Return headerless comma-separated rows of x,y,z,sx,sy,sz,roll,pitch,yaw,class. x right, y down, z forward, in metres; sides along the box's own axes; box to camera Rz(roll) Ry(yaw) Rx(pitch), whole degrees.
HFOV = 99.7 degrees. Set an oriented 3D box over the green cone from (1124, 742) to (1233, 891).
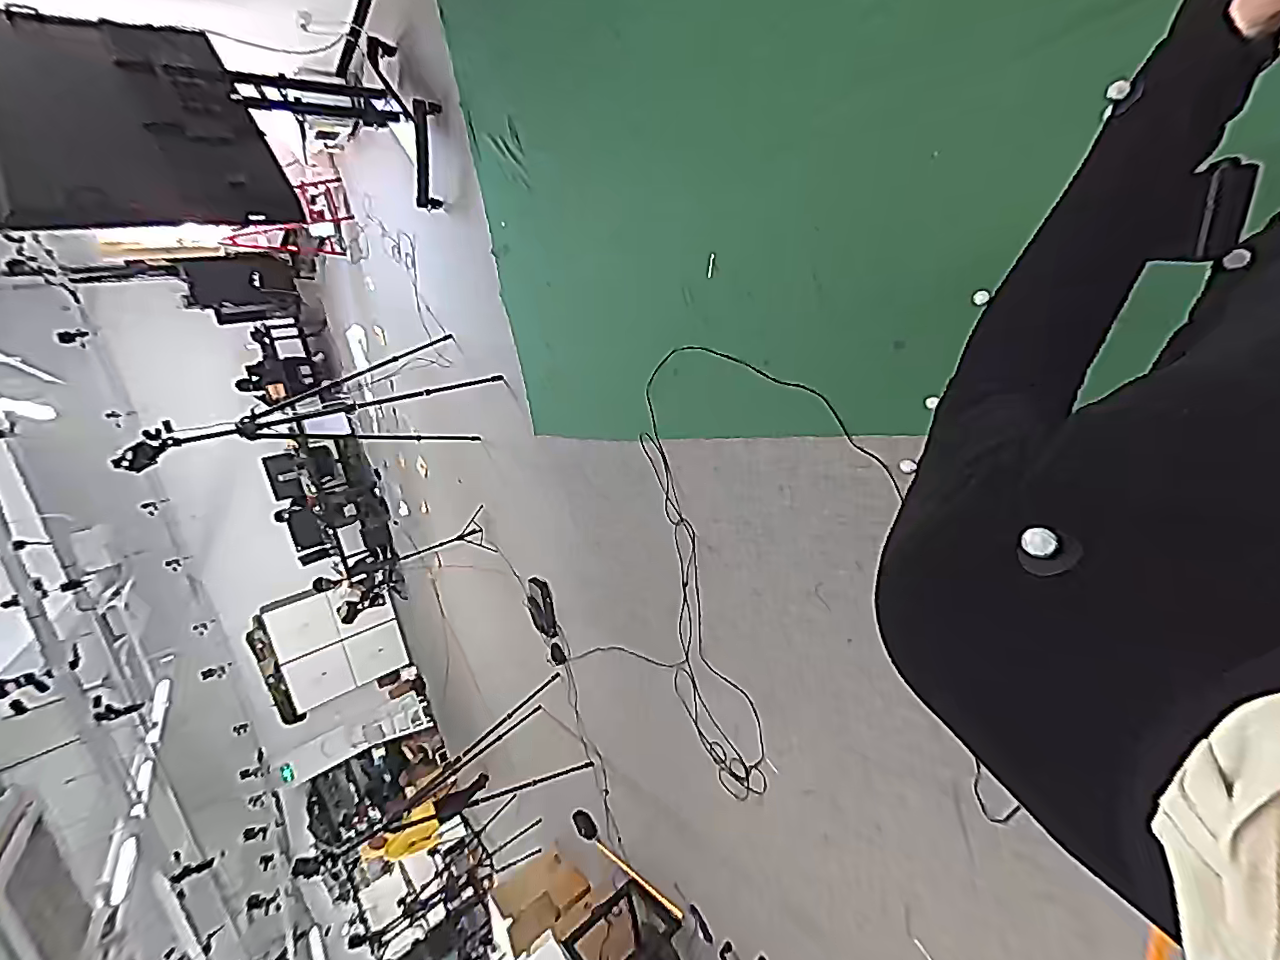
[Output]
1.260,0.846,1.305,0.202,0.368,0.200,5,110,52,green cone
